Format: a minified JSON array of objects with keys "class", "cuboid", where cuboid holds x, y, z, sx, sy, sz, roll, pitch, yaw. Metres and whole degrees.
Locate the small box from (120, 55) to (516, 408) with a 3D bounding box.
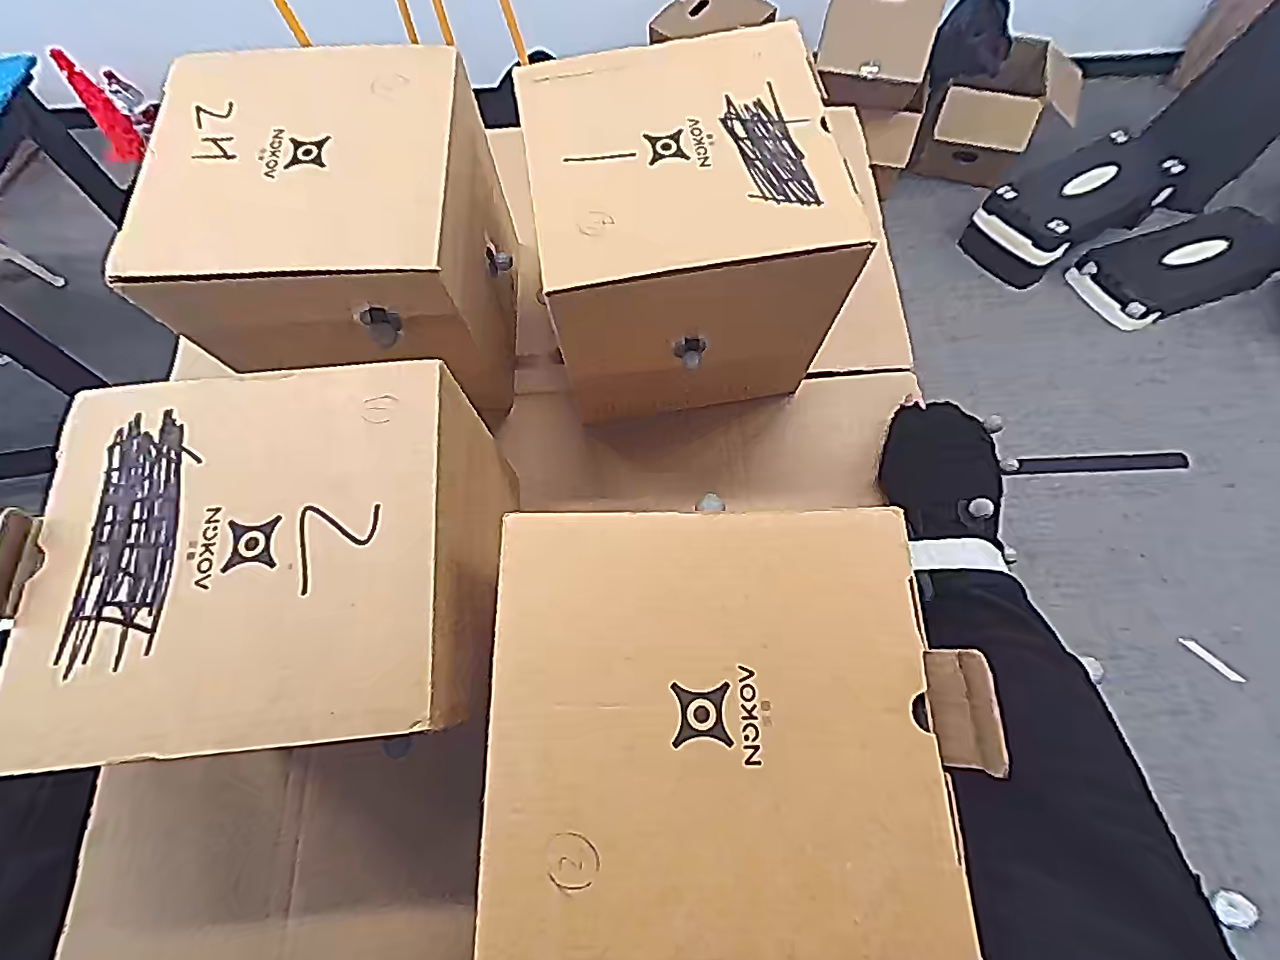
[{"class":"small box","cuboid":[-0.194,-0.161,0.391,0.179,0.176,0.168,-1,72,1]}]
